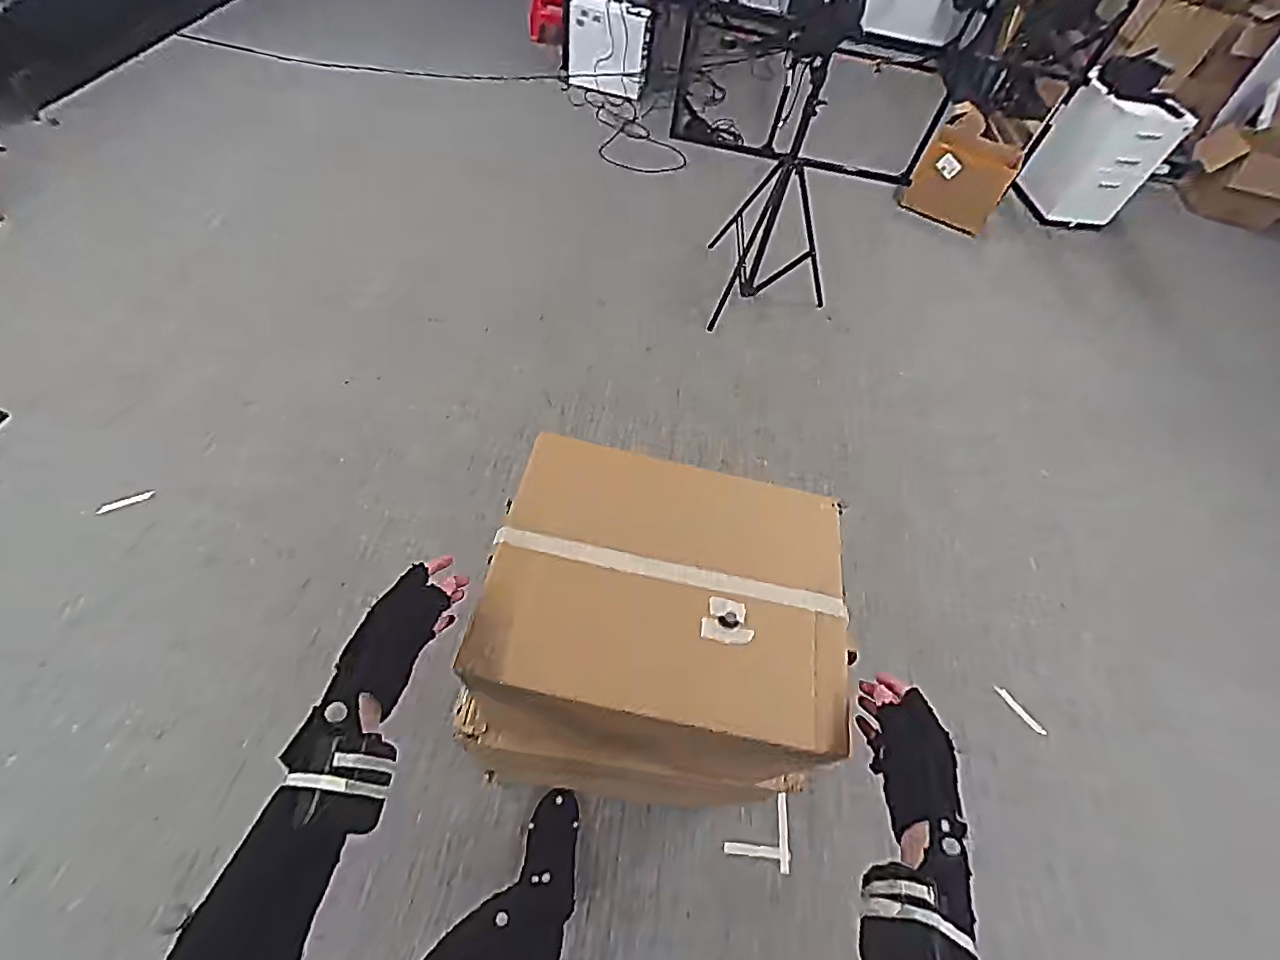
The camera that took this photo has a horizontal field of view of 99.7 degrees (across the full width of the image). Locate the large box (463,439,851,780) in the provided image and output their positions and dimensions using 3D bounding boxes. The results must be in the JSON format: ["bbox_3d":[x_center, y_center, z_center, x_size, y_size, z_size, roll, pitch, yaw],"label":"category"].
[{"bbox_3d":[0.018,0.190,0.738,0.408,0.320,0.320,12,56,-1],"label":"large box"}]
